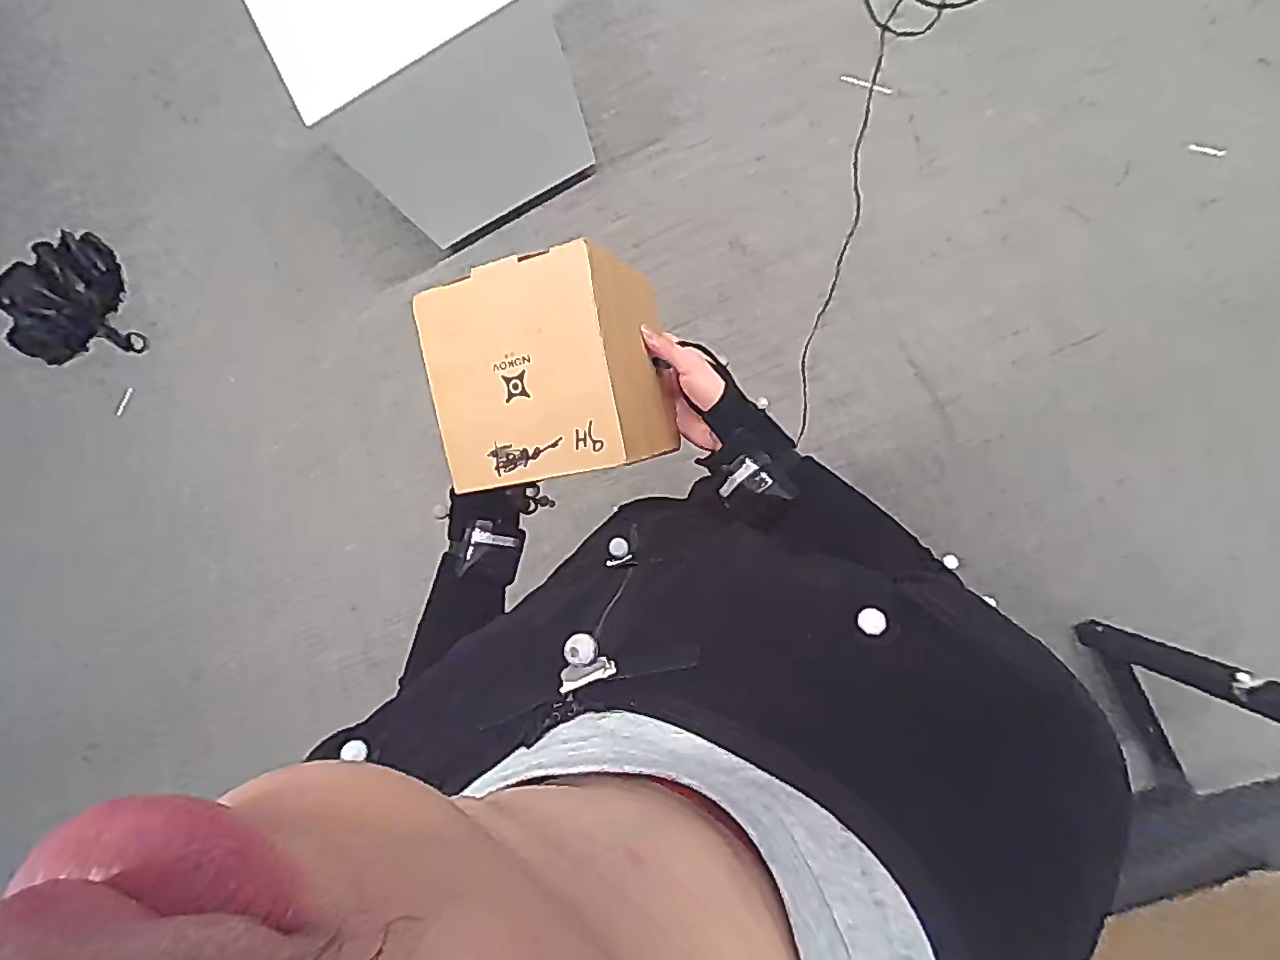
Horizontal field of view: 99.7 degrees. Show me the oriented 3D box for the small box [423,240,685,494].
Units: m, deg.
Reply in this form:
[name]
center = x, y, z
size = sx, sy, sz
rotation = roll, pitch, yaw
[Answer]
[small box]
center = -0.066, -0.093, 0.508
size = 0.168, 0.176, 0.179
rotation = -10, 94, 20
